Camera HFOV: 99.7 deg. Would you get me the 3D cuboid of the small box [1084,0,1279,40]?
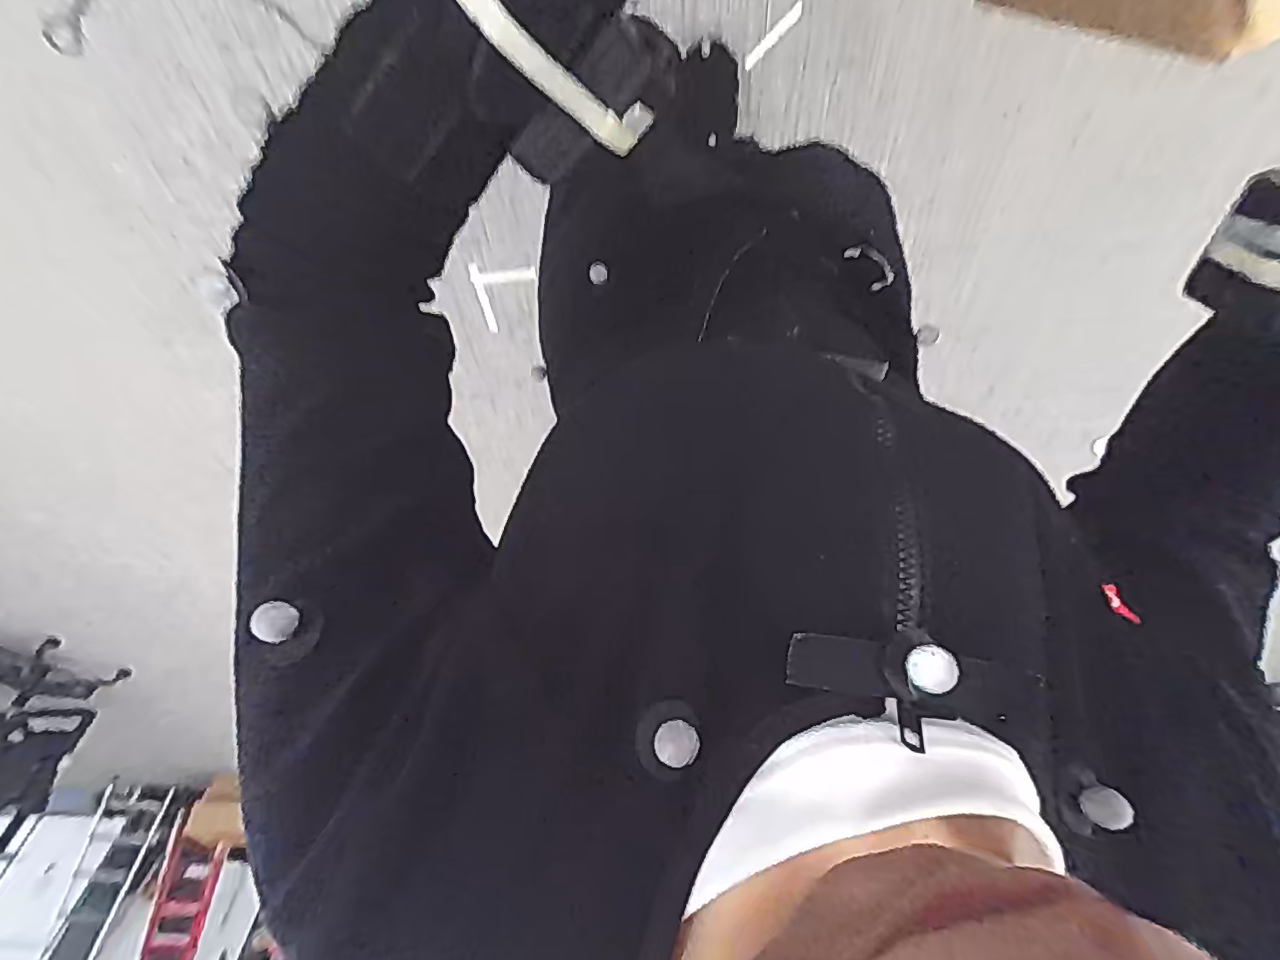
[{"bbox_3d":[0.175,-0.261,0.124,0.168,0.176,0.179,-30,128,26],"label":"small box"}]
